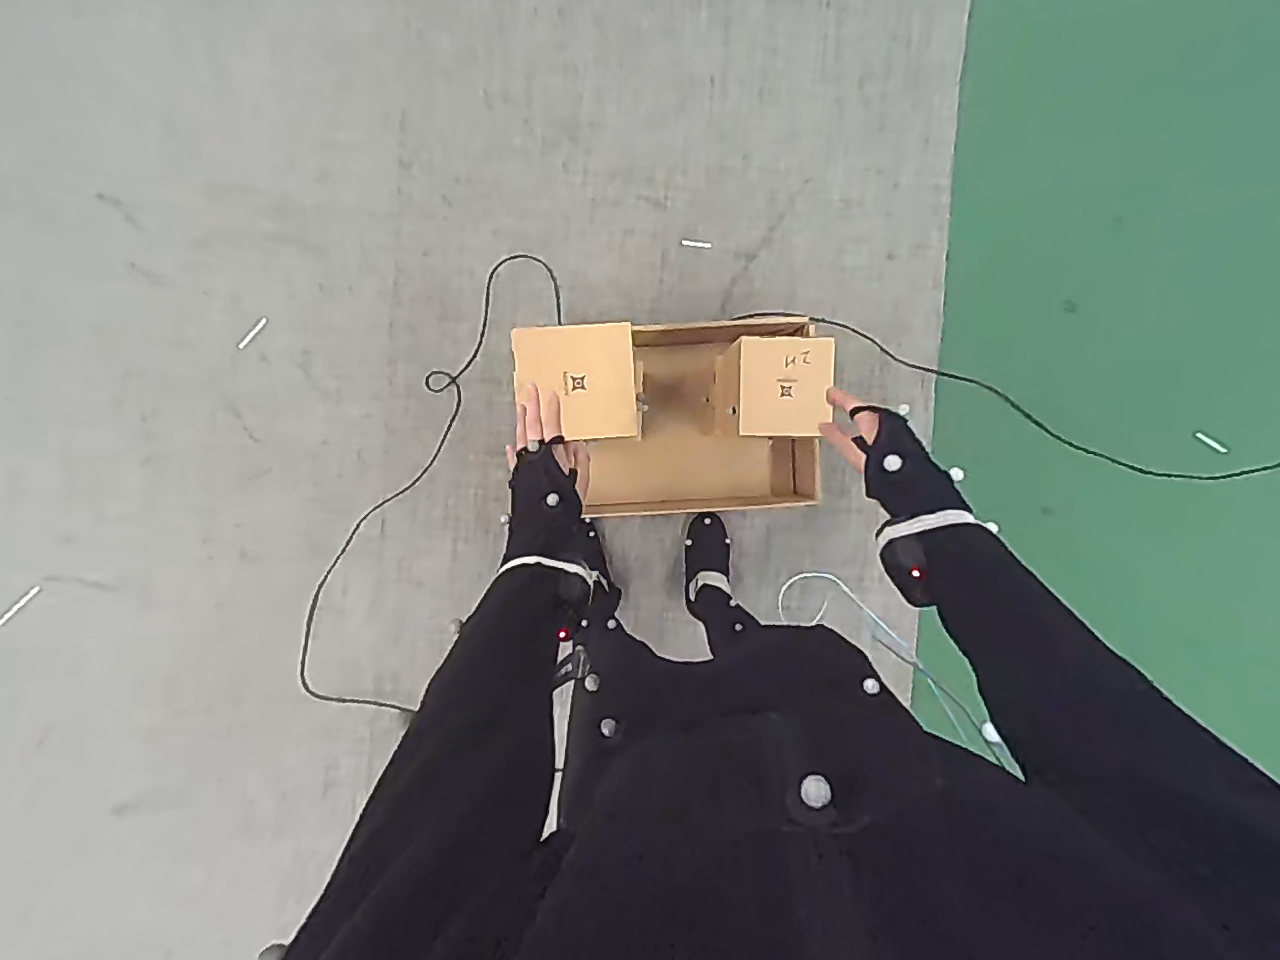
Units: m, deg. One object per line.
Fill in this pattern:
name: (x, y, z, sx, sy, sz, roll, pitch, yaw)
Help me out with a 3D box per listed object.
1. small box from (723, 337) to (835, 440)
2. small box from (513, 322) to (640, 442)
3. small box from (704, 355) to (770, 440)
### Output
small box: (0.253, -0.165, 1.023, 0.168, 0.176, 0.179, 1, 92, -2)
small box: (-0.093, -0.149, 0.858, 0.179, 0.176, 0.168, -4, 95, 0)
small box: (0.236, -0.175, 1.187, 0.179, 0.176, 0.168, 1, 93, 0)
